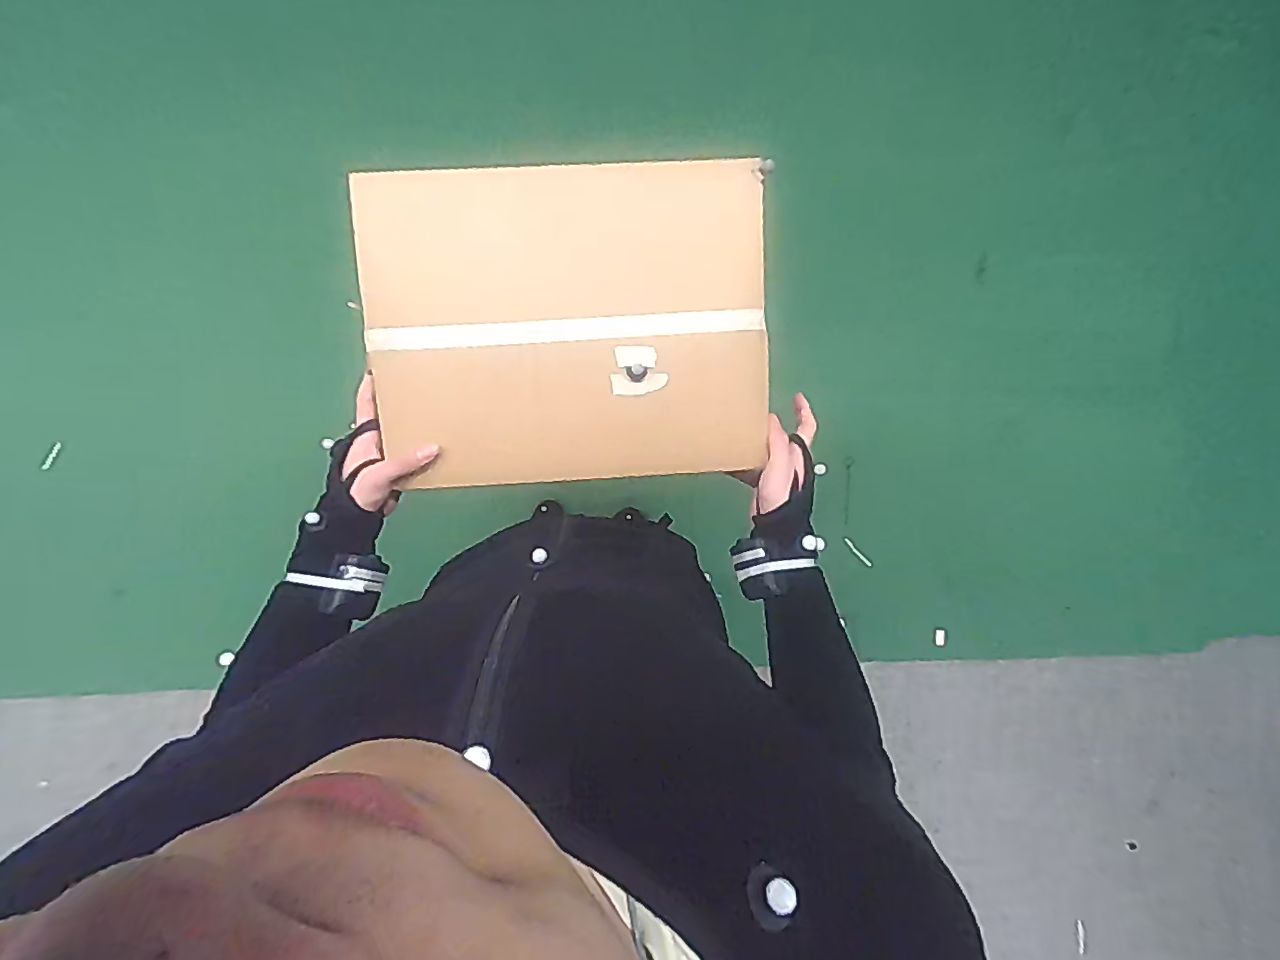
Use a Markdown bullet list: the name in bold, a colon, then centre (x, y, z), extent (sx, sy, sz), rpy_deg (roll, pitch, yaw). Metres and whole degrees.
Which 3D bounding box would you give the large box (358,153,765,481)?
- **large box**: centre (-0.080, -0.187, 0.707), extent (0.408, 0.320, 0.320), rpy_deg (-4, 100, -3)
